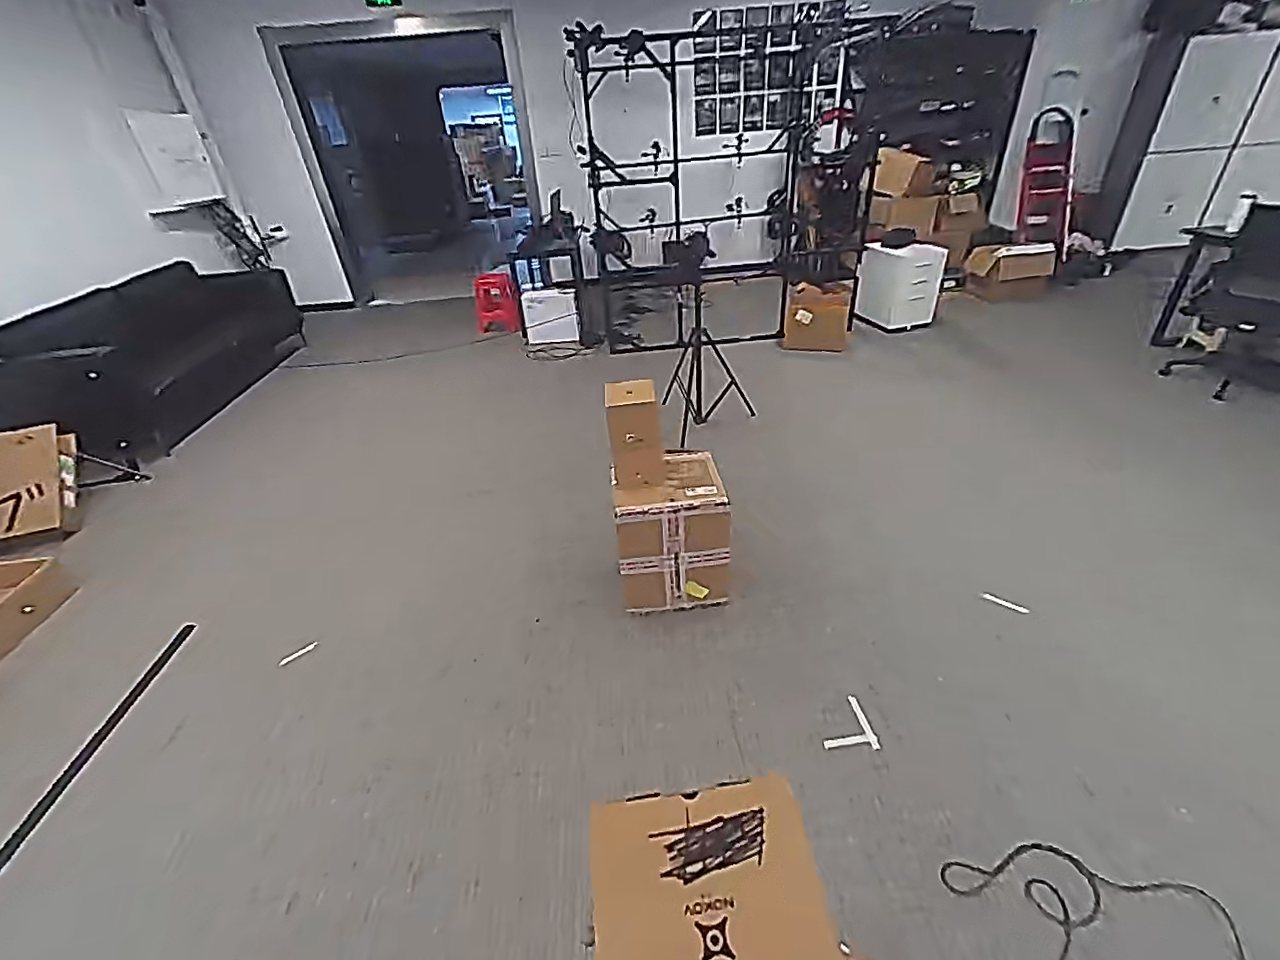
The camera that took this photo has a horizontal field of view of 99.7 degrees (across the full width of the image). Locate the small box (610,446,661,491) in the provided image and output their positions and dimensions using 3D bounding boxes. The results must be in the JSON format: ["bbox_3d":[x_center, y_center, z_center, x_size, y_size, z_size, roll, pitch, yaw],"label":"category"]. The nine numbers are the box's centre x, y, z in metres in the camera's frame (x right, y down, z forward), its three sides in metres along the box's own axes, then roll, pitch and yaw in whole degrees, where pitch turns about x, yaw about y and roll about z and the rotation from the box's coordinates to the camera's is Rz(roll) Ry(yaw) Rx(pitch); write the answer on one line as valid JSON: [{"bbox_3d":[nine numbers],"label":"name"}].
[{"bbox_3d":[-0.019,-0.081,1.931,0.168,0.176,0.179,-7,35,0],"label":"small box"}]

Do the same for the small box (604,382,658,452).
[{"bbox_3d":[-0.032,-0.214,1.838,0.168,0.176,0.179,-7,35,0],"label":"small box"}]

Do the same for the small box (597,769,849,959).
[{"bbox_3d":[0.055,0.363,0.431,0.168,0.176,0.179,-6,41,-4],"label":"small box"}]
